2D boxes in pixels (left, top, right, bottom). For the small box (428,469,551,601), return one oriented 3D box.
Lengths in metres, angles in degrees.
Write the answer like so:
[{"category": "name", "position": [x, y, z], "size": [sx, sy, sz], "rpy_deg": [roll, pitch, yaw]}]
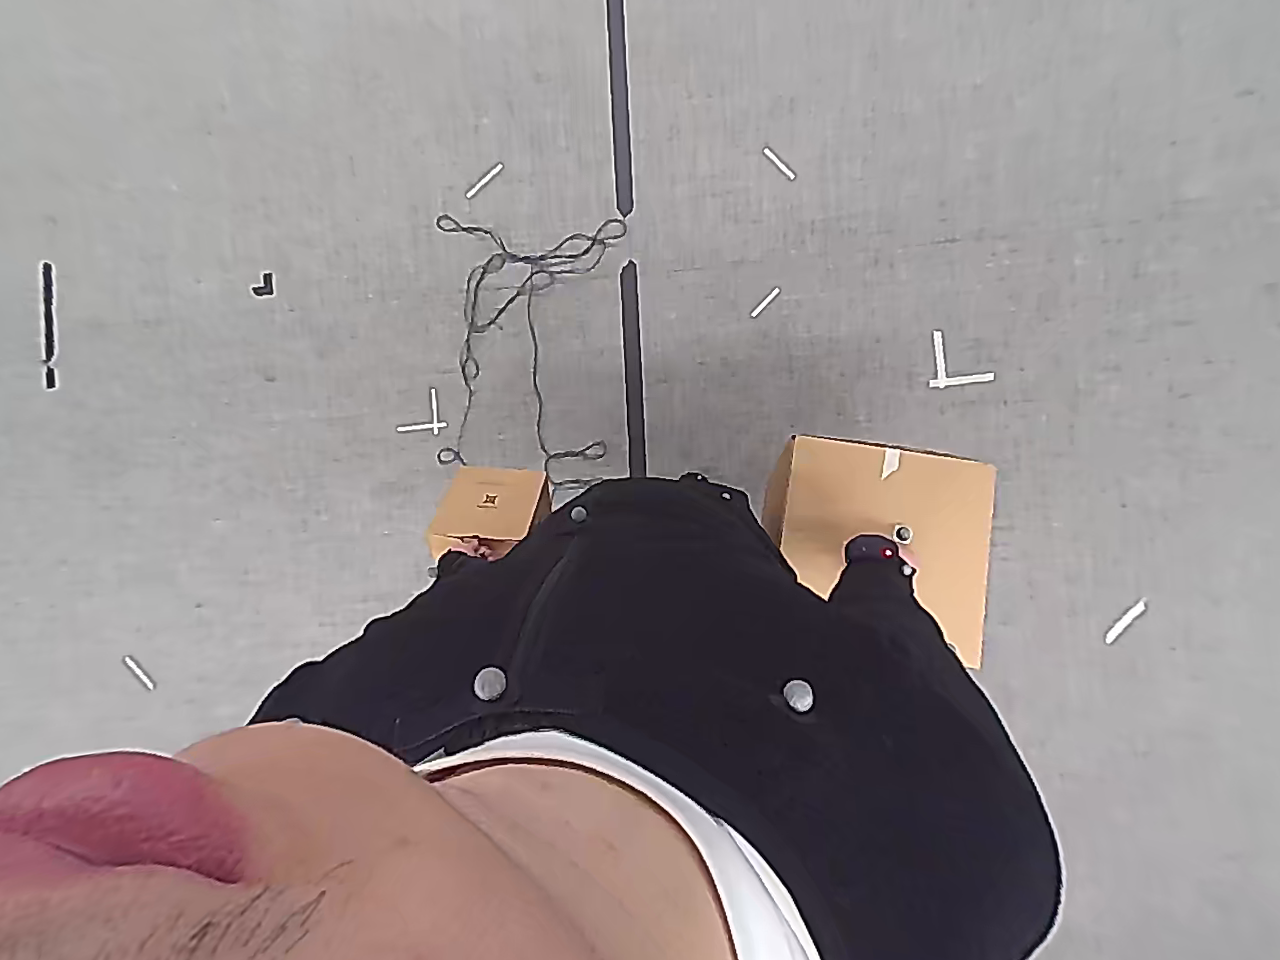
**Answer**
[{"category": "small box", "position": [-0.262, 0.103, 0.993], "size": [0.168, 0.179, 0.176], "rpy_deg": [5, 131, 2]}]
